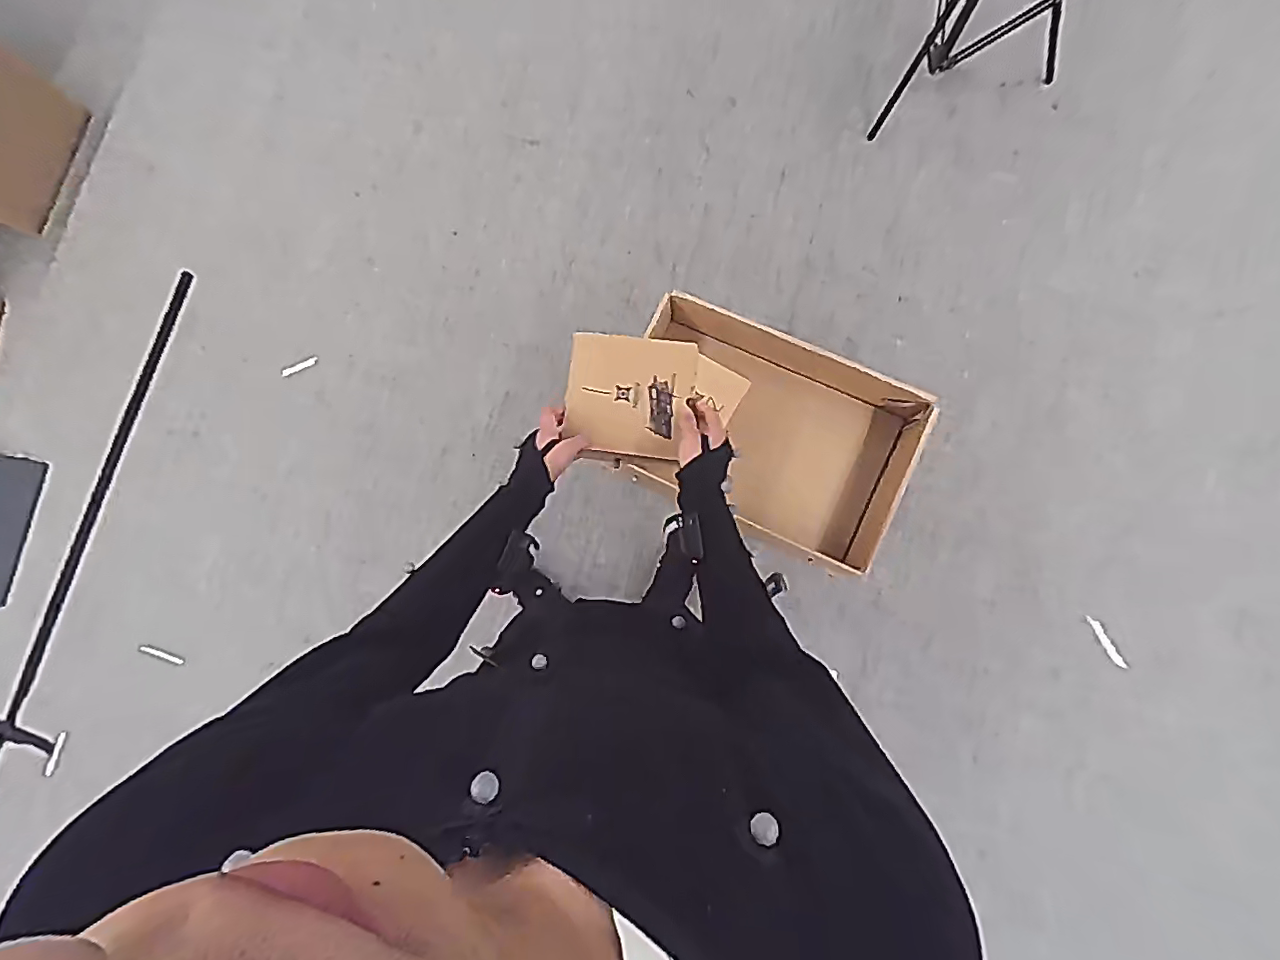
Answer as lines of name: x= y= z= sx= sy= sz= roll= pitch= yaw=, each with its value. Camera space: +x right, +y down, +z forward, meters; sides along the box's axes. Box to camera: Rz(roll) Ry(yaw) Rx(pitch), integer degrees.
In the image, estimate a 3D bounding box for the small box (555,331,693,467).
small box: x=-0.023 y=-0.114 z=0.829 sx=0.179 sy=0.176 sz=0.168 roll=7 pitch=87 yaw=0
